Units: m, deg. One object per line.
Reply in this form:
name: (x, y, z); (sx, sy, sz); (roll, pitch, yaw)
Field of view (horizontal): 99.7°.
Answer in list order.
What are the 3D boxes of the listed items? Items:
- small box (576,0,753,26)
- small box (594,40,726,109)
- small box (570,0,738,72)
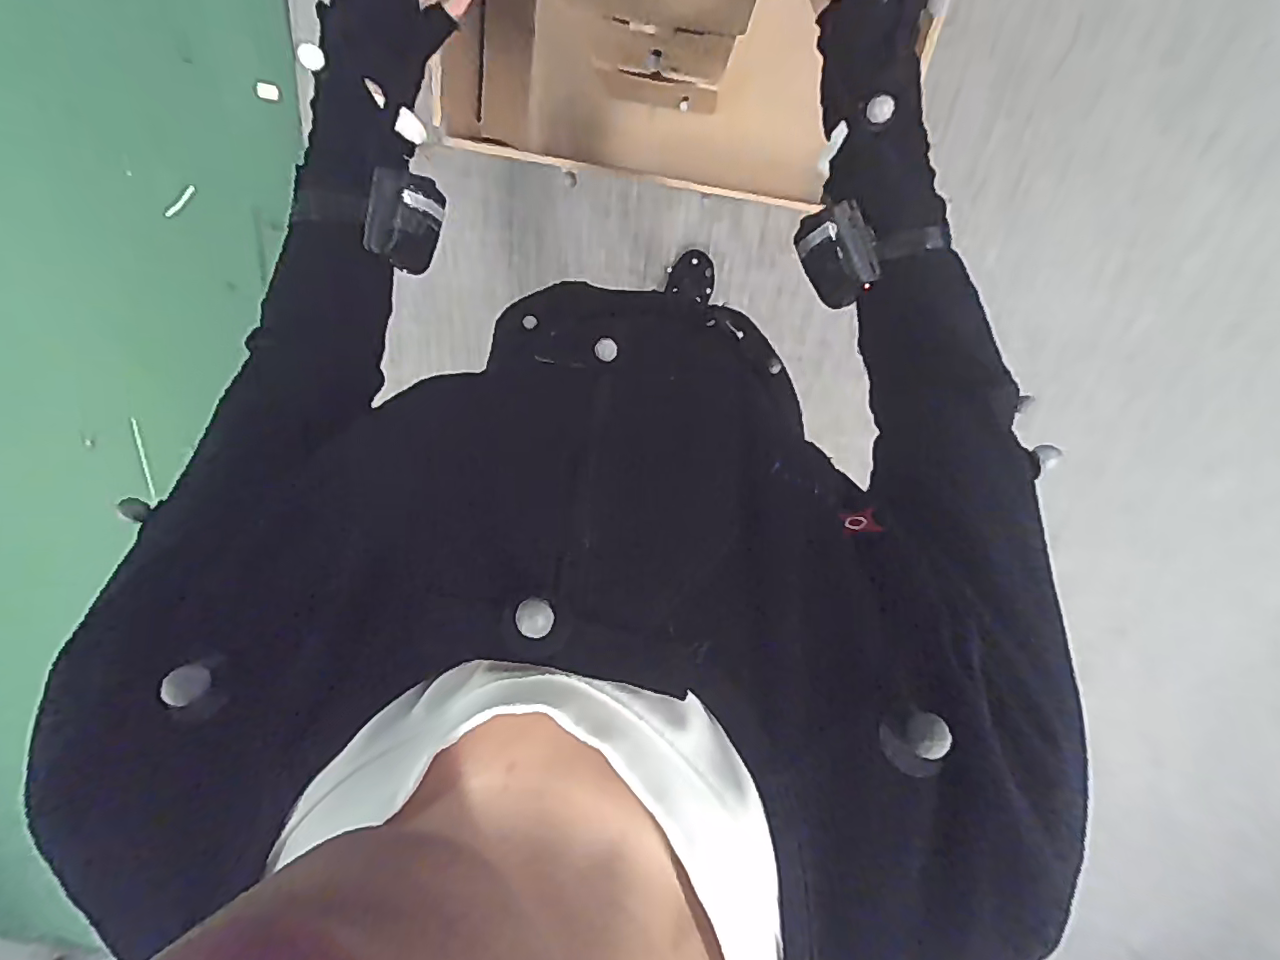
small box: (0.021, -0.476, 0.404); (0.179, 0.176, 0.168); (8, 115, 0)
small box: (0.041, -0.610, 0.704); (0.168, 0.176, 0.179); (9, 114, 0)
small box: (0.032, -0.549, 0.553); (0.168, 0.176, 0.179); (10, 116, 0)
